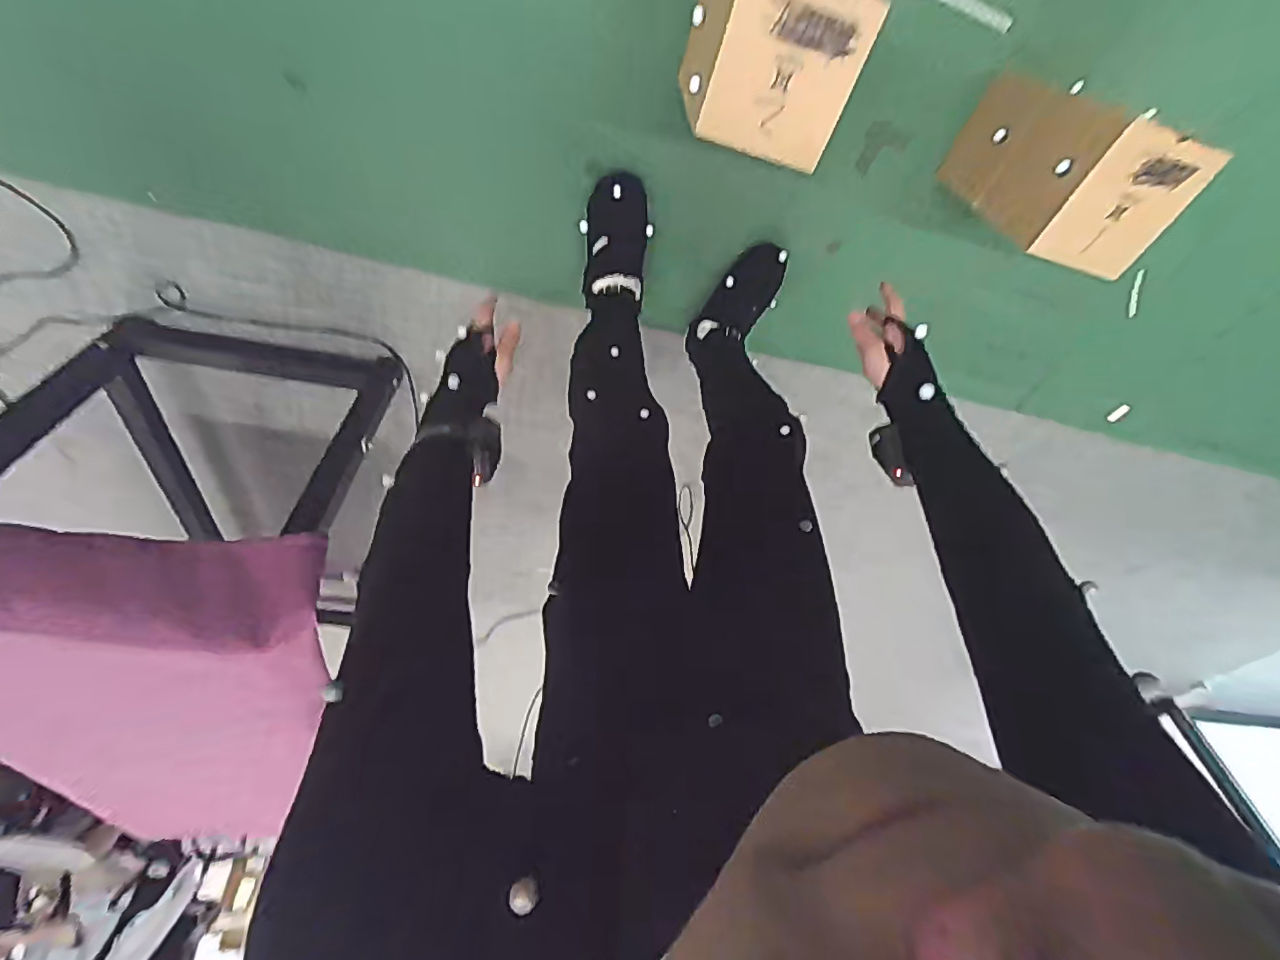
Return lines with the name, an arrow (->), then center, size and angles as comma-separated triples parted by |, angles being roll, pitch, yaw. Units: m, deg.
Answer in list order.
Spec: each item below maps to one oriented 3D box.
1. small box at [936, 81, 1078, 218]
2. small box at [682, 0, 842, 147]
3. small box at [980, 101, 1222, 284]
small box -> 0.646, -0.540, 0.913 | 0.168, 0.176, 0.179 | 11, 133, -13
small box -> 0.165, -0.636, 0.804 | 0.168, 0.176, 0.179 | 11, 132, -12
small box -> 0.653, -0.425, 0.796 | 0.168, 0.176, 0.179 | 11, 133, -13
